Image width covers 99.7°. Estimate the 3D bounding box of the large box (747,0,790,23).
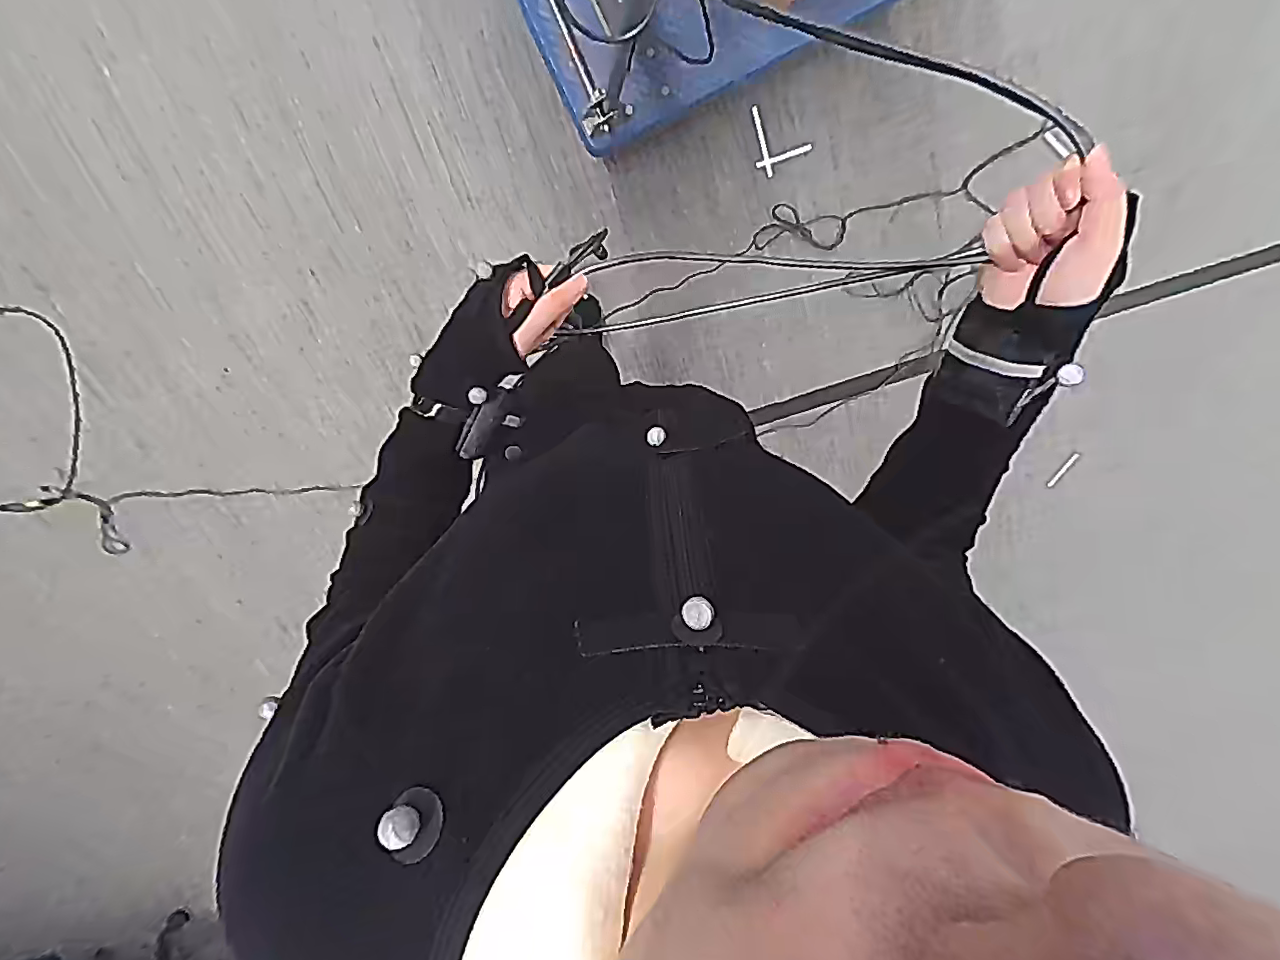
[{"bbox_3d":[0.237,-1.060,0.824,0.320,0.320,0.408,-39,109,10],"label":"large box"}]
